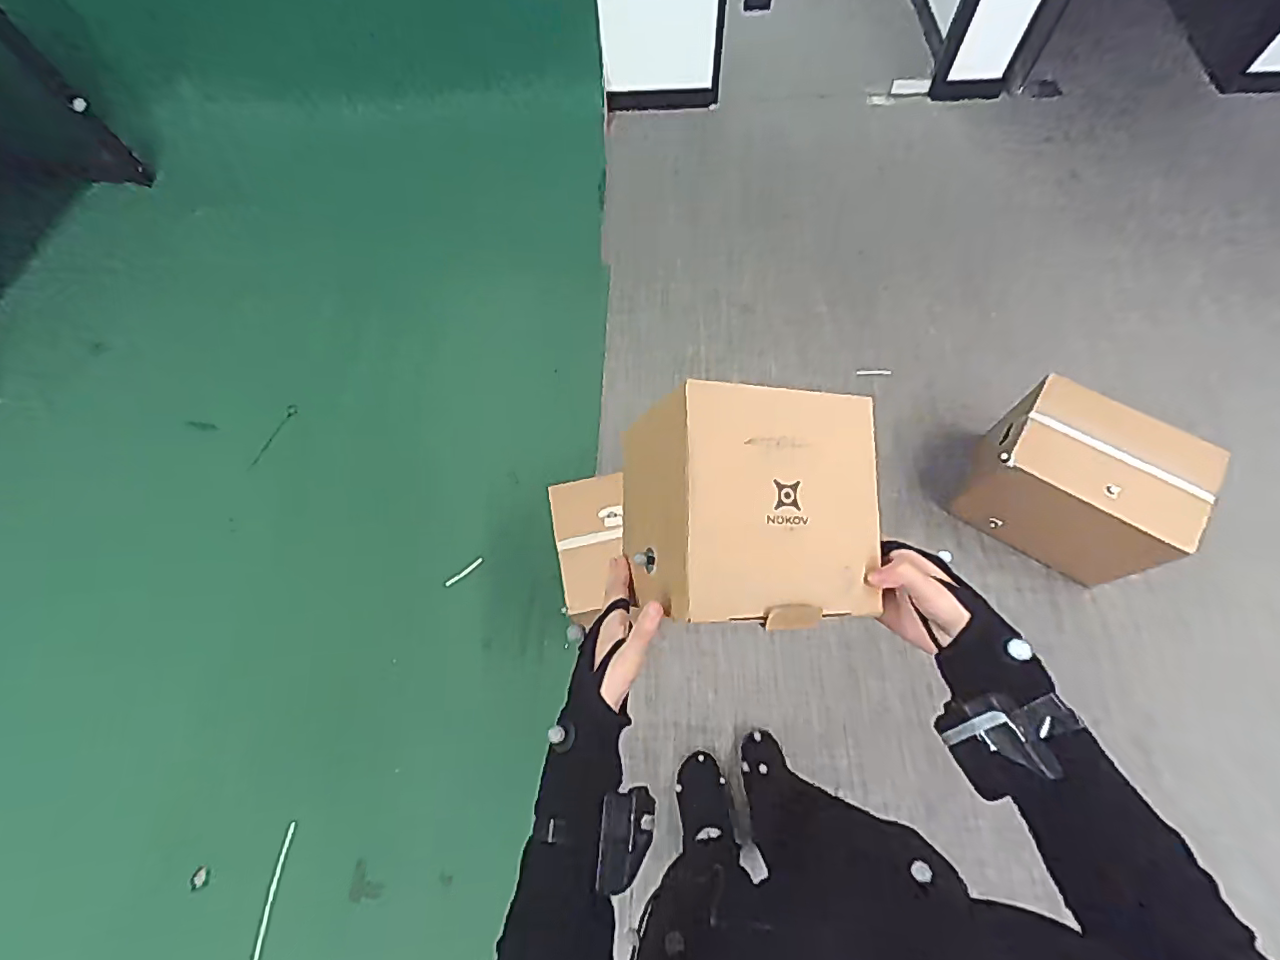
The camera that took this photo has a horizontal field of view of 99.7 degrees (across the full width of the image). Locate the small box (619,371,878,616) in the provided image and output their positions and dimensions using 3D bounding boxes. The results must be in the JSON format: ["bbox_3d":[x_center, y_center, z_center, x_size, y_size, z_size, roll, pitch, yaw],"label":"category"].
[{"bbox_3d":[0.081,0.022,0.478,0.168,0.176,0.179,3,81,-17],"label":"small box"}]

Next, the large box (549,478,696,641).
[{"bbox_3d":[0.020,0.186,1.354,0.408,0.320,0.320,-12,63,-2],"label":"large box"}]
